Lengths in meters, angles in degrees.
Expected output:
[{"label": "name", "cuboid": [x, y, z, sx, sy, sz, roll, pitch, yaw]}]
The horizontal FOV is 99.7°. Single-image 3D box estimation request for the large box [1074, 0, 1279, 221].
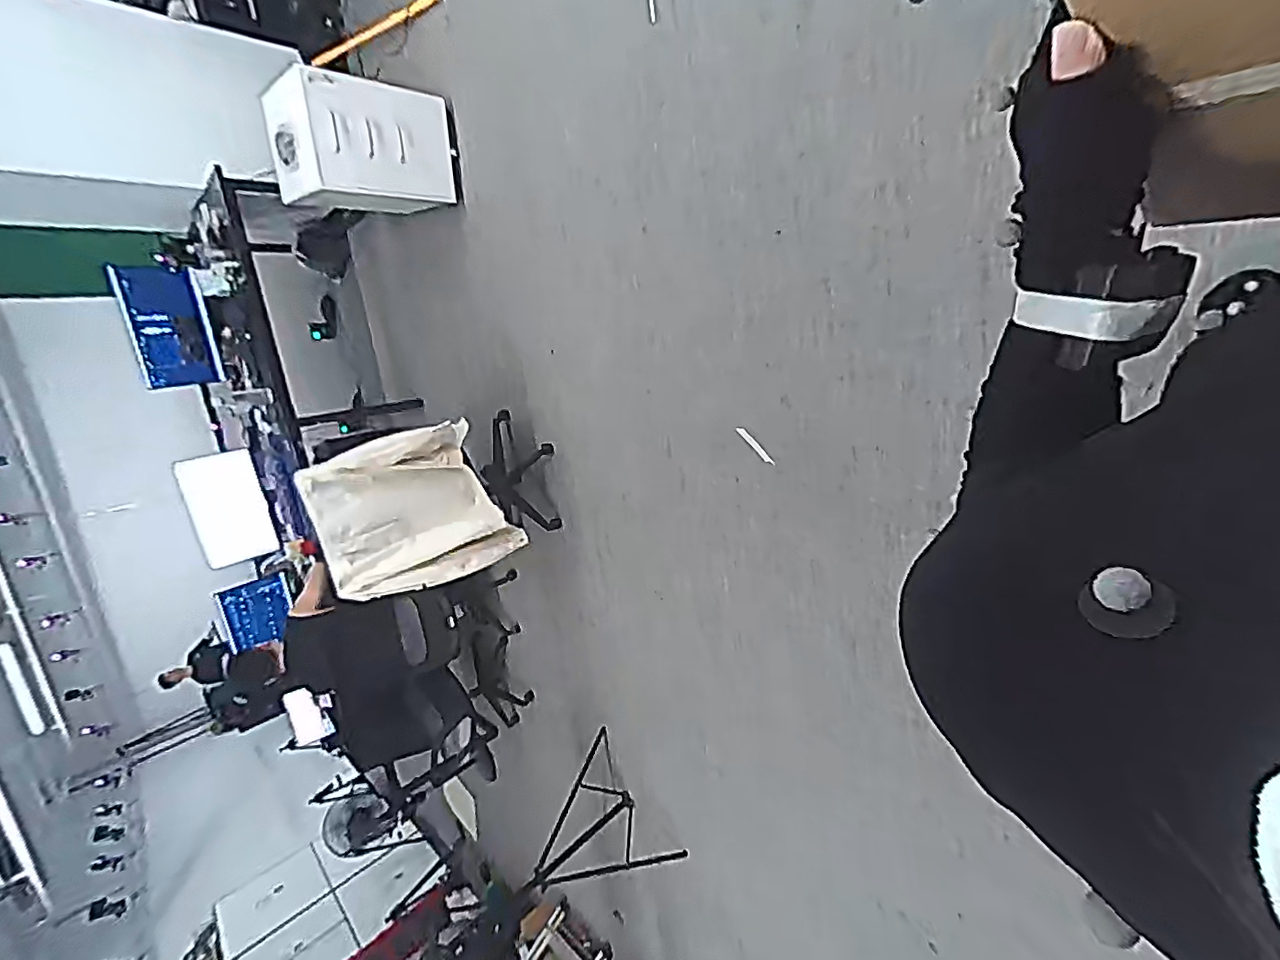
[{"label": "large box", "cuboid": [0.402, -0.300, 0.121, 0.408, 0.320, 0.320, 21, 100, 49]}]
